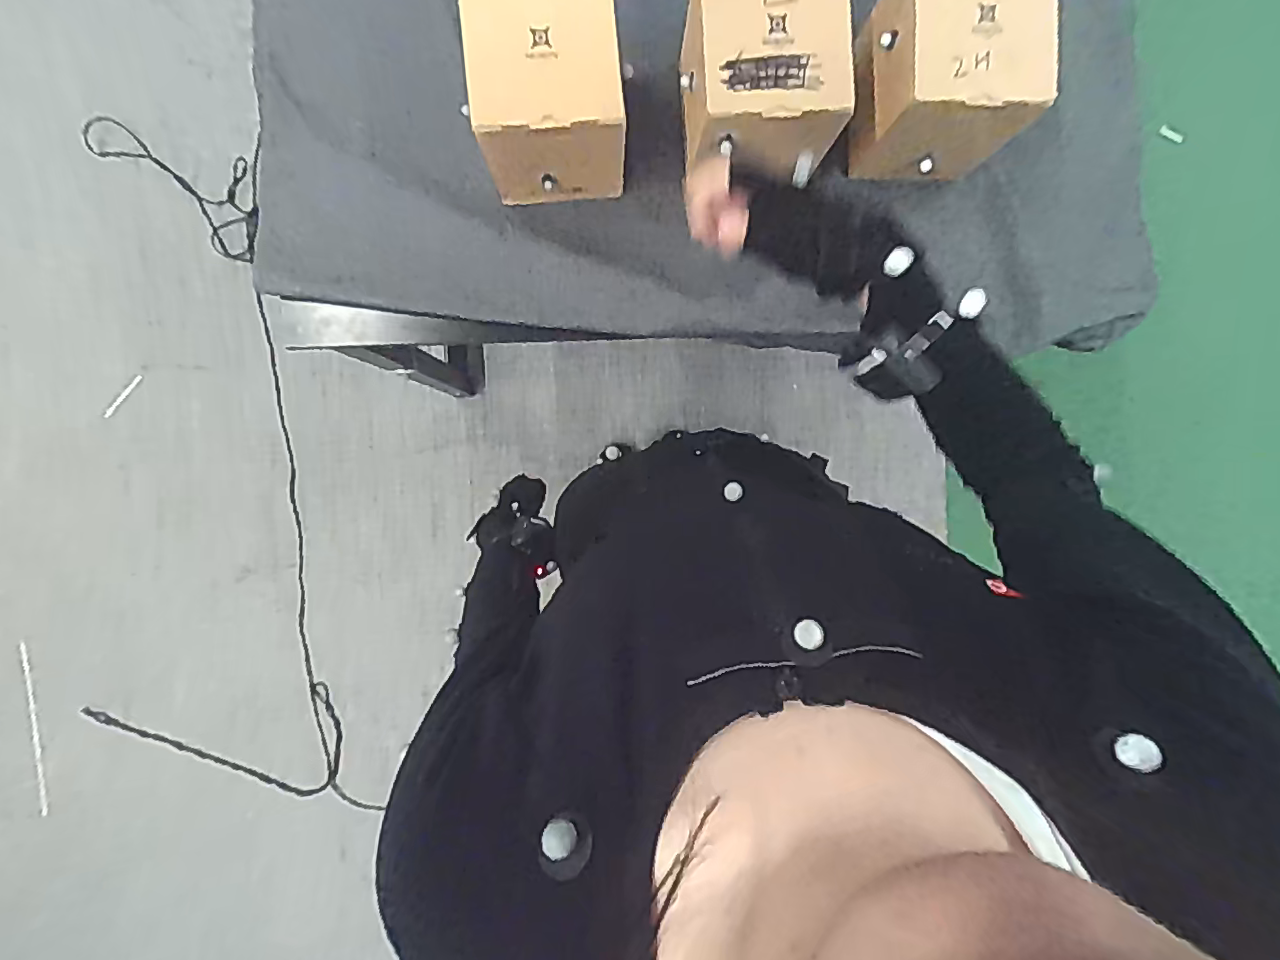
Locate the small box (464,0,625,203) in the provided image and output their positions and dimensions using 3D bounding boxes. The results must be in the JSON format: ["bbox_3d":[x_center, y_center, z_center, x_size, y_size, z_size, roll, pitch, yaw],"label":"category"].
[{"bbox_3d":[-0.111,-0.471,0.666,0.168,0.176,0.179,-5,93,-3],"label":"small box"}]
